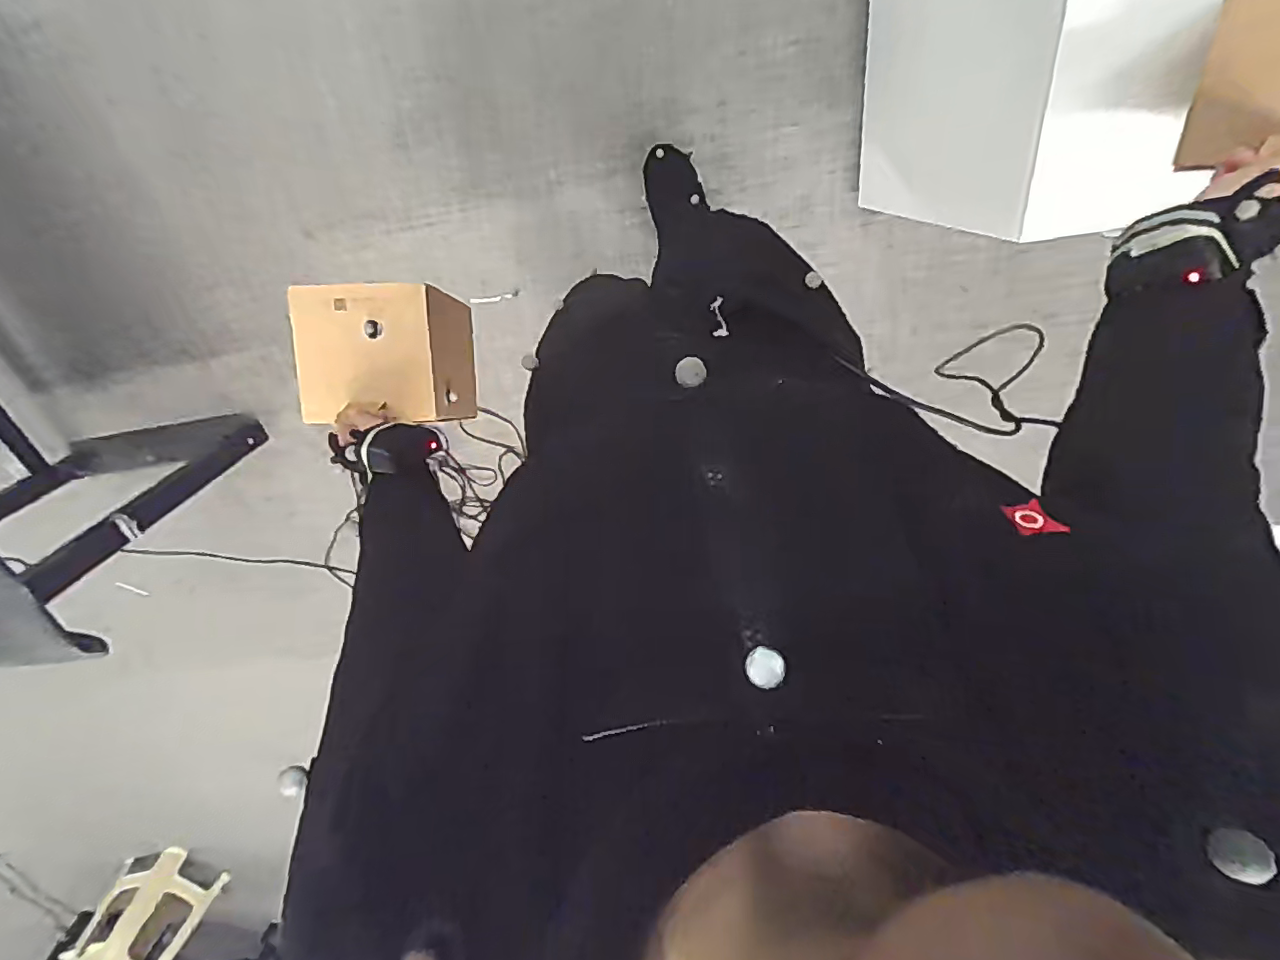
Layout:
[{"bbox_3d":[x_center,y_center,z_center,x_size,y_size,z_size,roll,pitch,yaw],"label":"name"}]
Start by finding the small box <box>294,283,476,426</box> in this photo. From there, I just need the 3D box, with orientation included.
[{"bbox_3d":[-0.330,-0.161,0.730,0.168,0.179,0.176,-2,98,1],"label":"small box"}]
